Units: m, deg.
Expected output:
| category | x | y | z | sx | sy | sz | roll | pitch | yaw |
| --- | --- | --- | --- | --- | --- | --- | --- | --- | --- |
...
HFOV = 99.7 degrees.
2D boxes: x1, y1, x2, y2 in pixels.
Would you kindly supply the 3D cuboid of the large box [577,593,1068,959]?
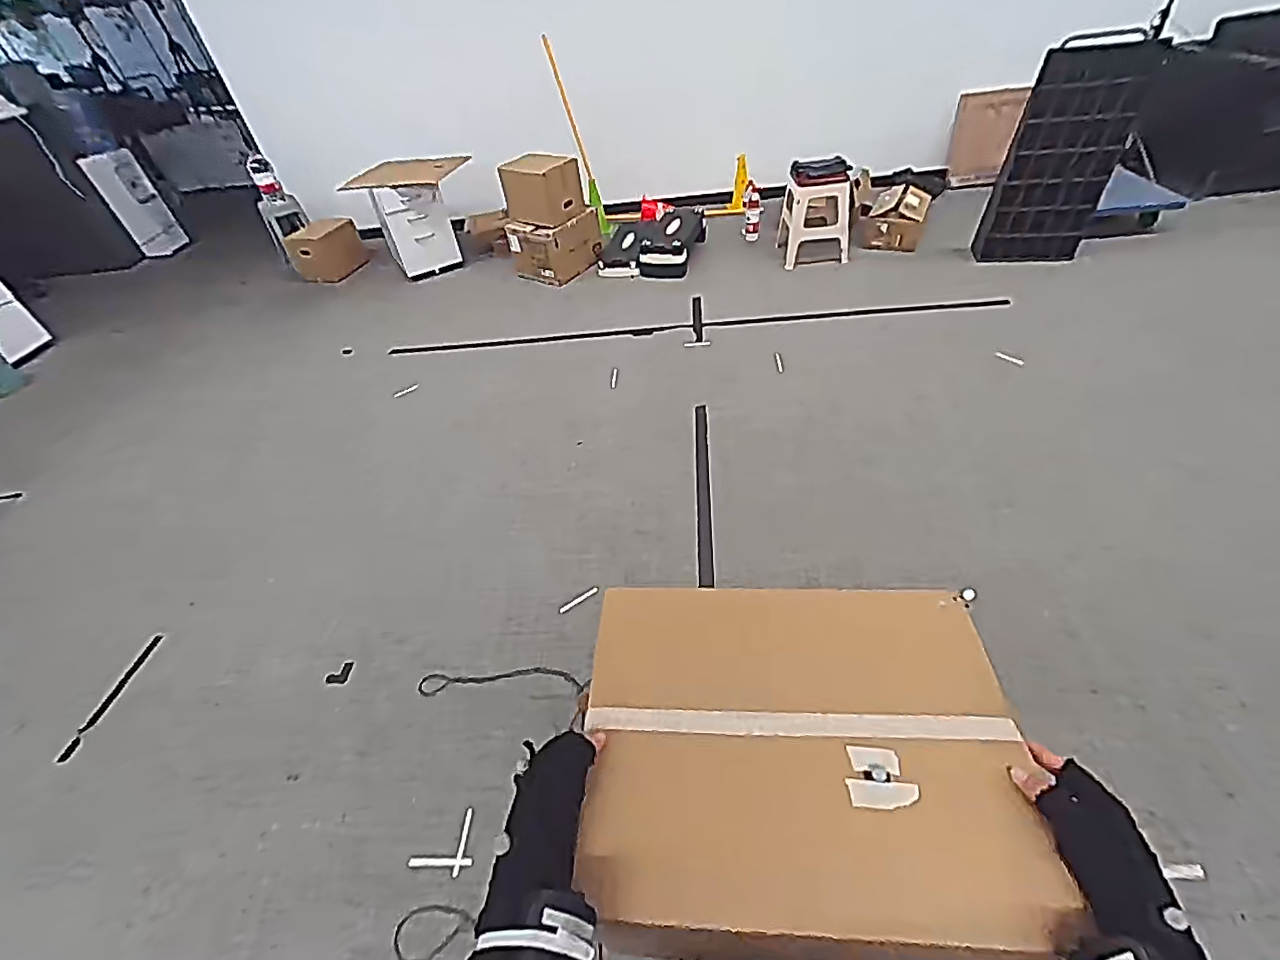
| category | x | y | z | sx | sy | sz | roll | pitch | yaw |
| --- | --- | --- | --- | --- | --- | --- | --- | --- | --- |
| large box | 0.159 | 0.352 | 0.648 | 0.408 | 0.320 | 0.320 | -1 | 45 | 6 |
